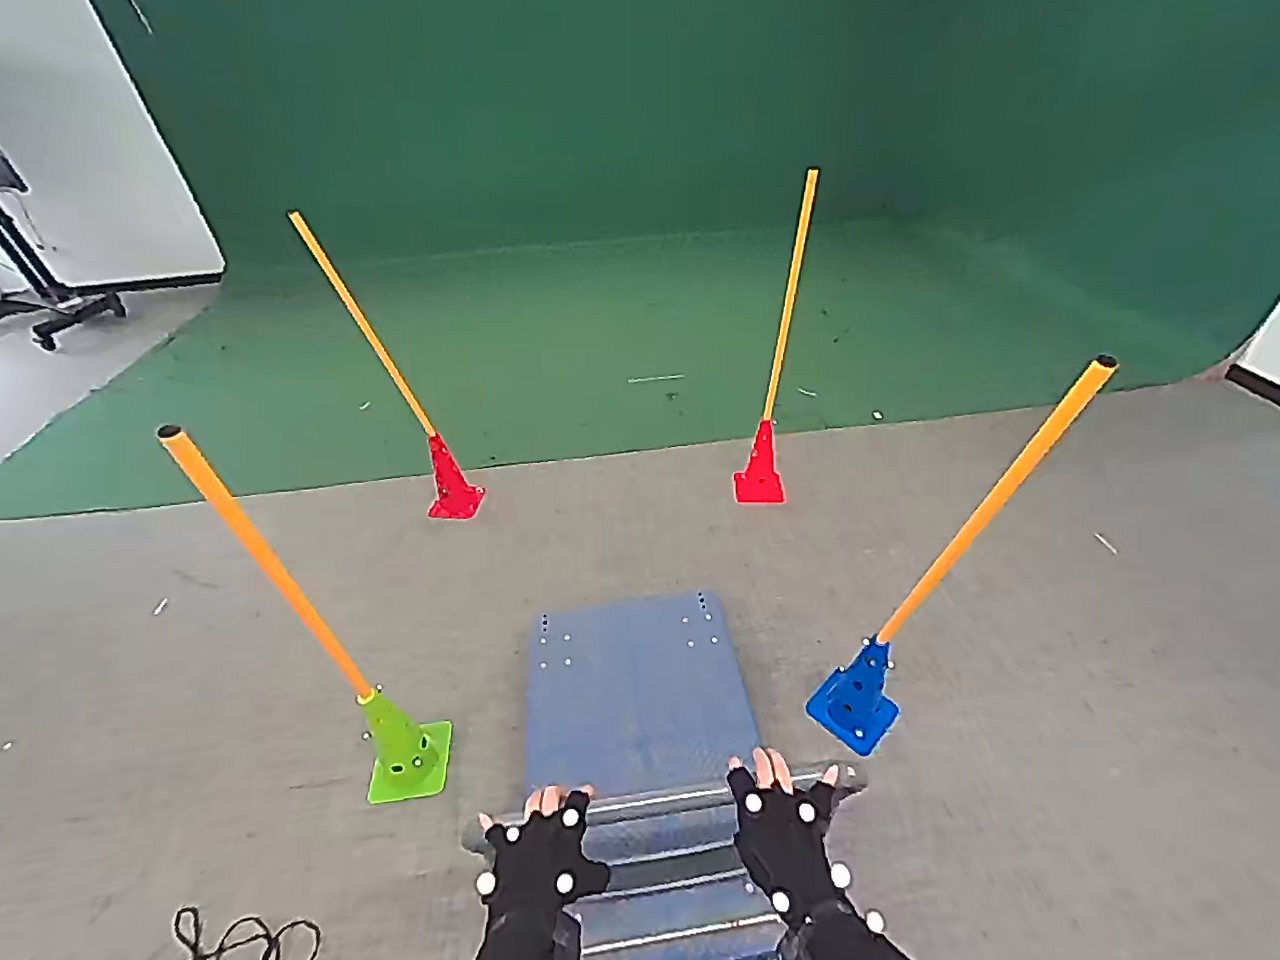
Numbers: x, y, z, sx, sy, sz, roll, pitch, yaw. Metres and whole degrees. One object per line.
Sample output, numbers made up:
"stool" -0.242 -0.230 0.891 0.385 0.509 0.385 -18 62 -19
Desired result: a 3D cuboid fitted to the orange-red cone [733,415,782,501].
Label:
"orange-red cone" 0.490 -0.107 2.193 0.198 0.360 0.199 0 41 6
